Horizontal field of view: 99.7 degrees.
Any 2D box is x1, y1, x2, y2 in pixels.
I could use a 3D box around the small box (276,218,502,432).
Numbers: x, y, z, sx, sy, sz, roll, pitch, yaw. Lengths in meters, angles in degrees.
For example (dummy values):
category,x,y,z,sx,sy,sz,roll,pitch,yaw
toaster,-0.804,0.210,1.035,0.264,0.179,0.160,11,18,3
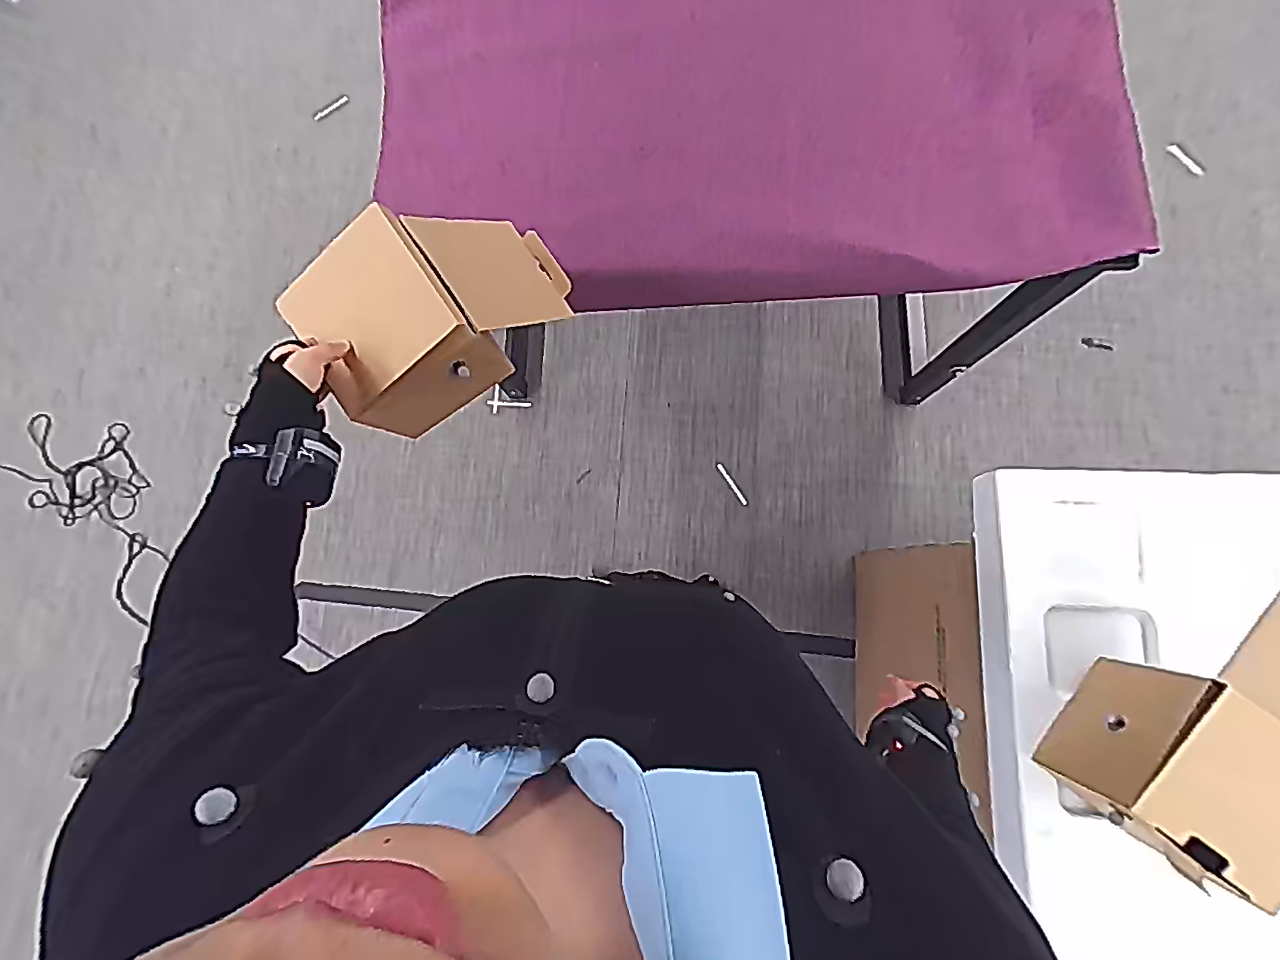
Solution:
category,x,y,z,sx,sy,sz,roll,pitch,yaw
small box,-0.295,-0.181,0.686,0.179,0.176,0.168,-34,86,0
